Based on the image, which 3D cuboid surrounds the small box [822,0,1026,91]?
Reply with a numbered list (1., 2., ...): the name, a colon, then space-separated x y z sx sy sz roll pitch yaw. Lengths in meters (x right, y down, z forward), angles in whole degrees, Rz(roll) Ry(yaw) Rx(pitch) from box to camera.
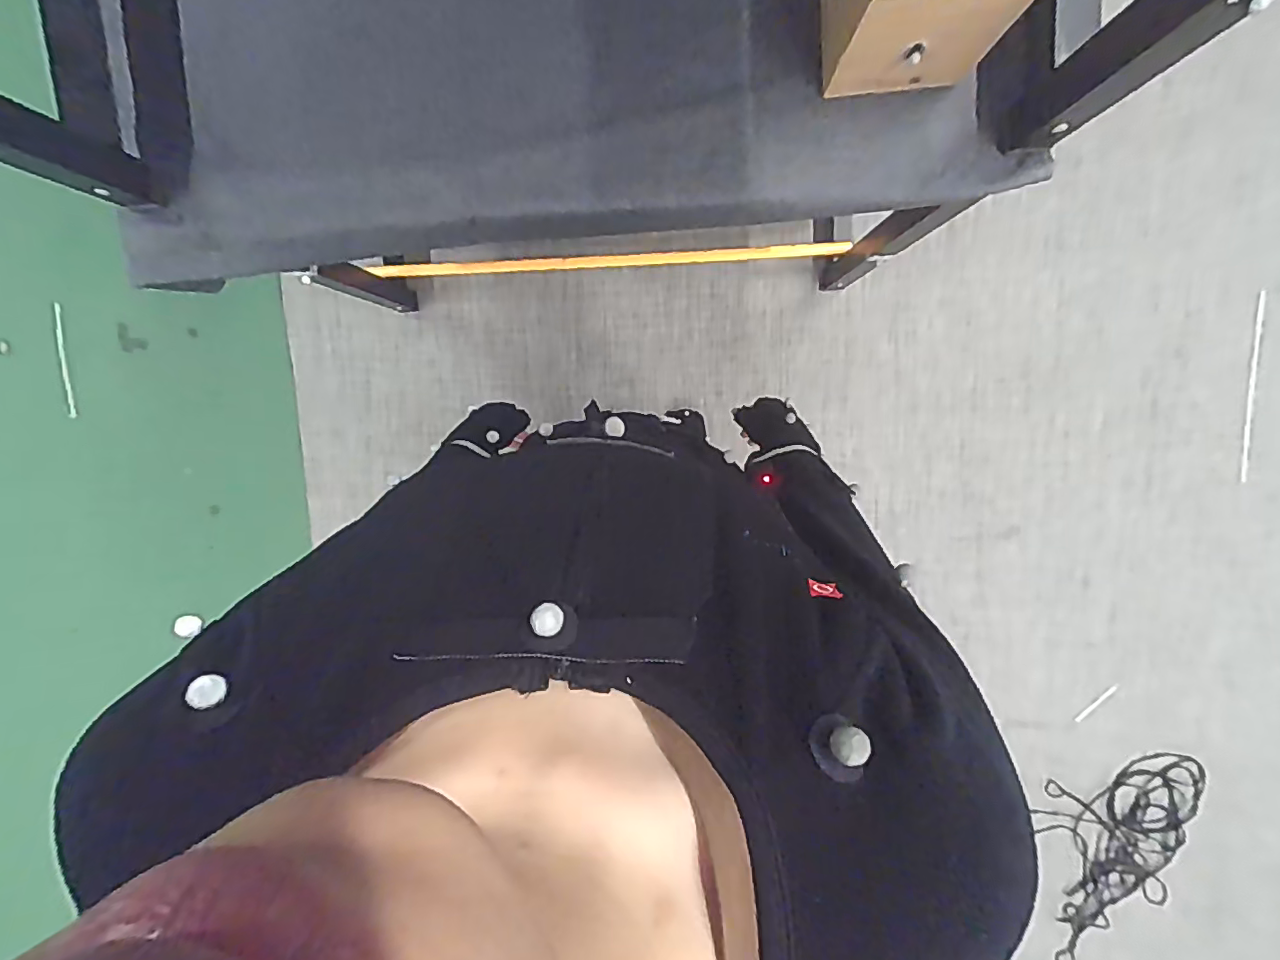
1. small box: 0.301 -0.551 0.578 0.168 0.176 0.179 -4 97 3
